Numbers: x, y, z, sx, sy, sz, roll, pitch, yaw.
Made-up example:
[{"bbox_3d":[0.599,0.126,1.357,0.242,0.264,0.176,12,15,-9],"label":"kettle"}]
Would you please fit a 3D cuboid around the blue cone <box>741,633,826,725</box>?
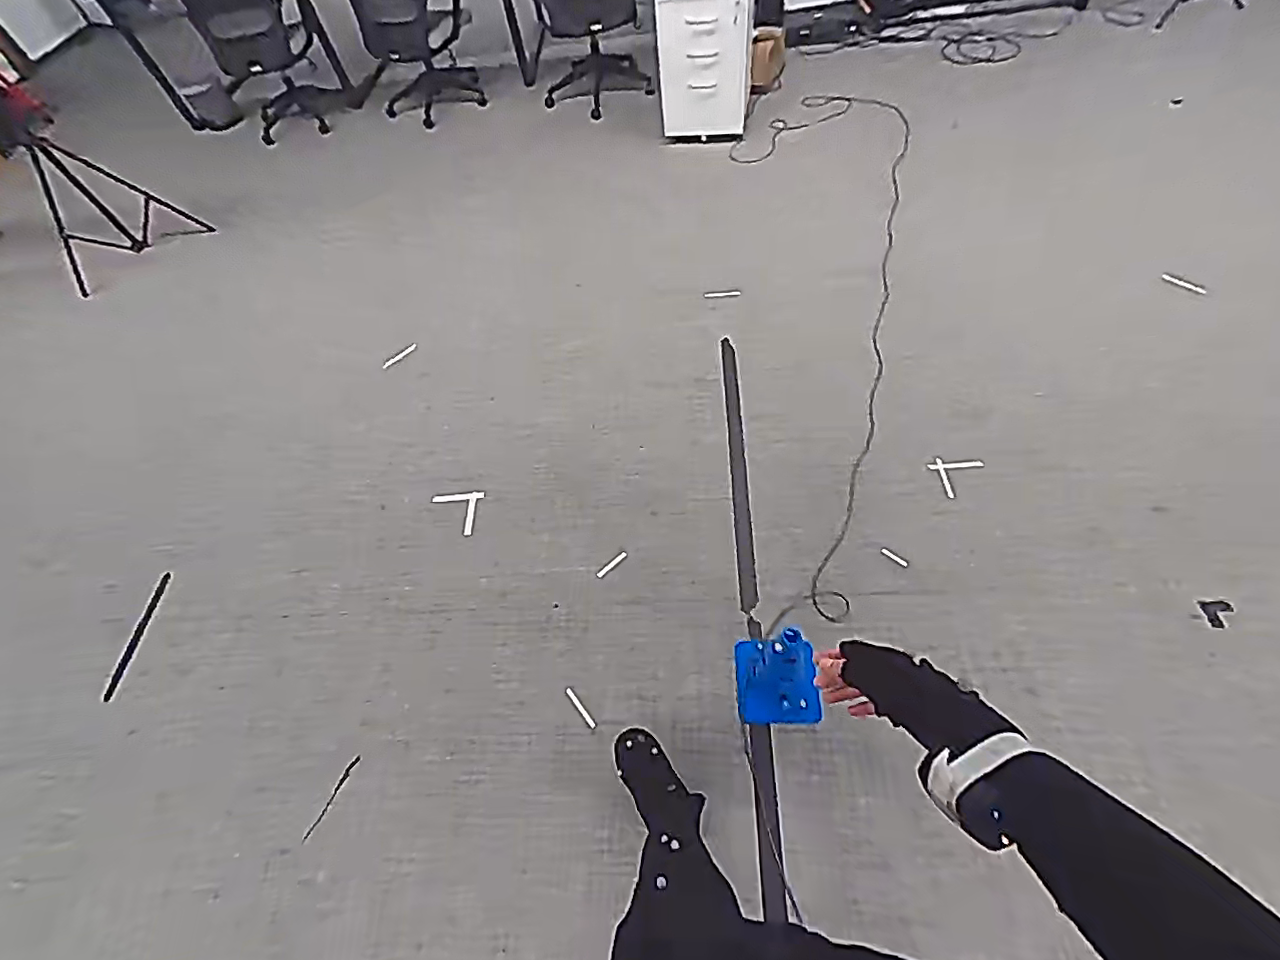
[{"bbox_3d":[0.329,0.405,1.192,0.193,0.380,0.192,-4,56,5],"label":"blue cone"}]
